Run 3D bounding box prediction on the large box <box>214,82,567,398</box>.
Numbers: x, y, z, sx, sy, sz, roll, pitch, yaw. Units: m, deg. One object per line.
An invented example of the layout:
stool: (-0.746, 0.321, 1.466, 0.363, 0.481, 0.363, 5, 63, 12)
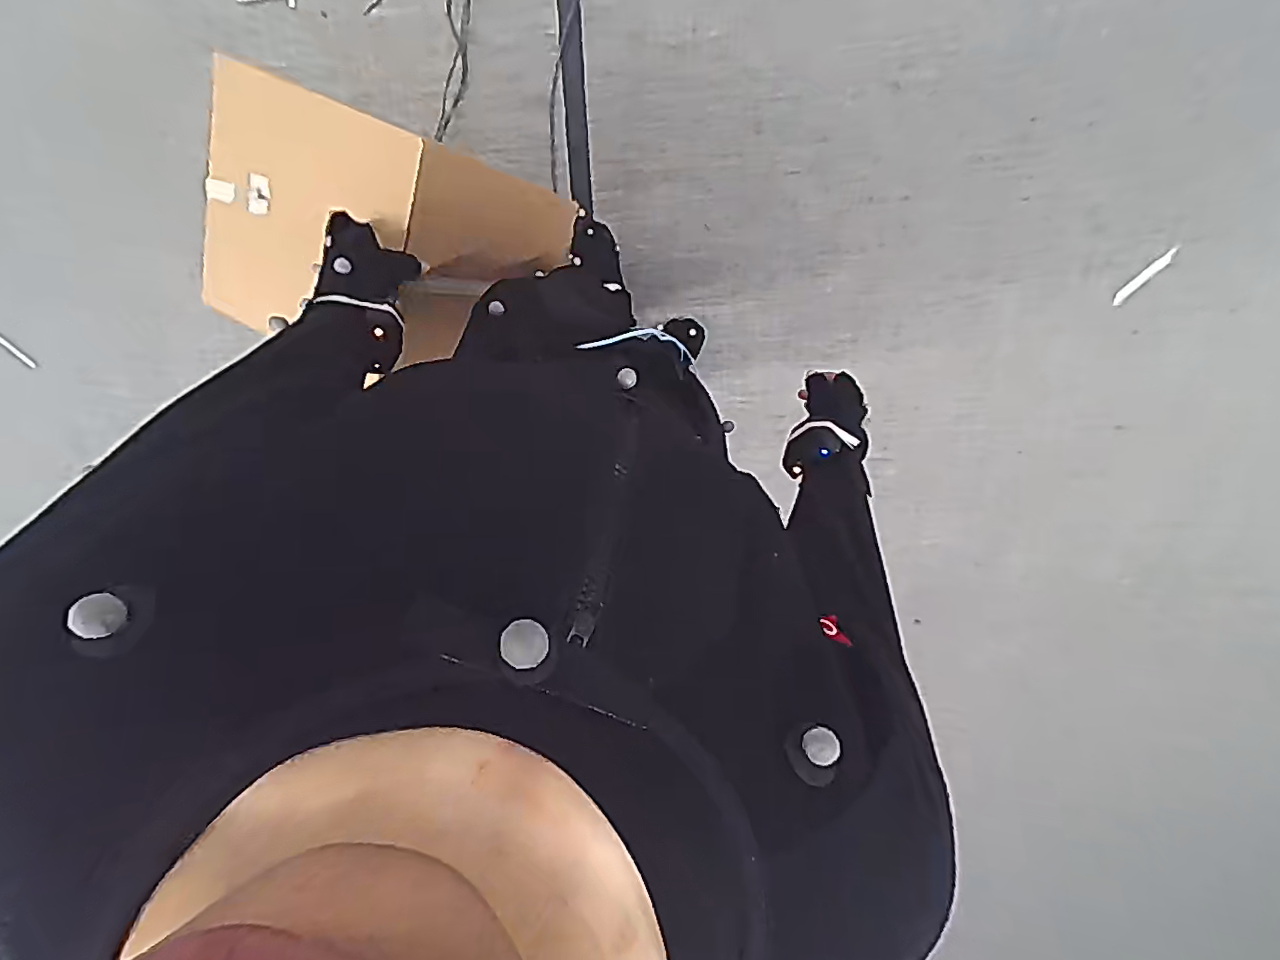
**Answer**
large box: (-0.375, -0.362, 0.871, 0.320, 0.408, 0.320, 27, 114, 9)
